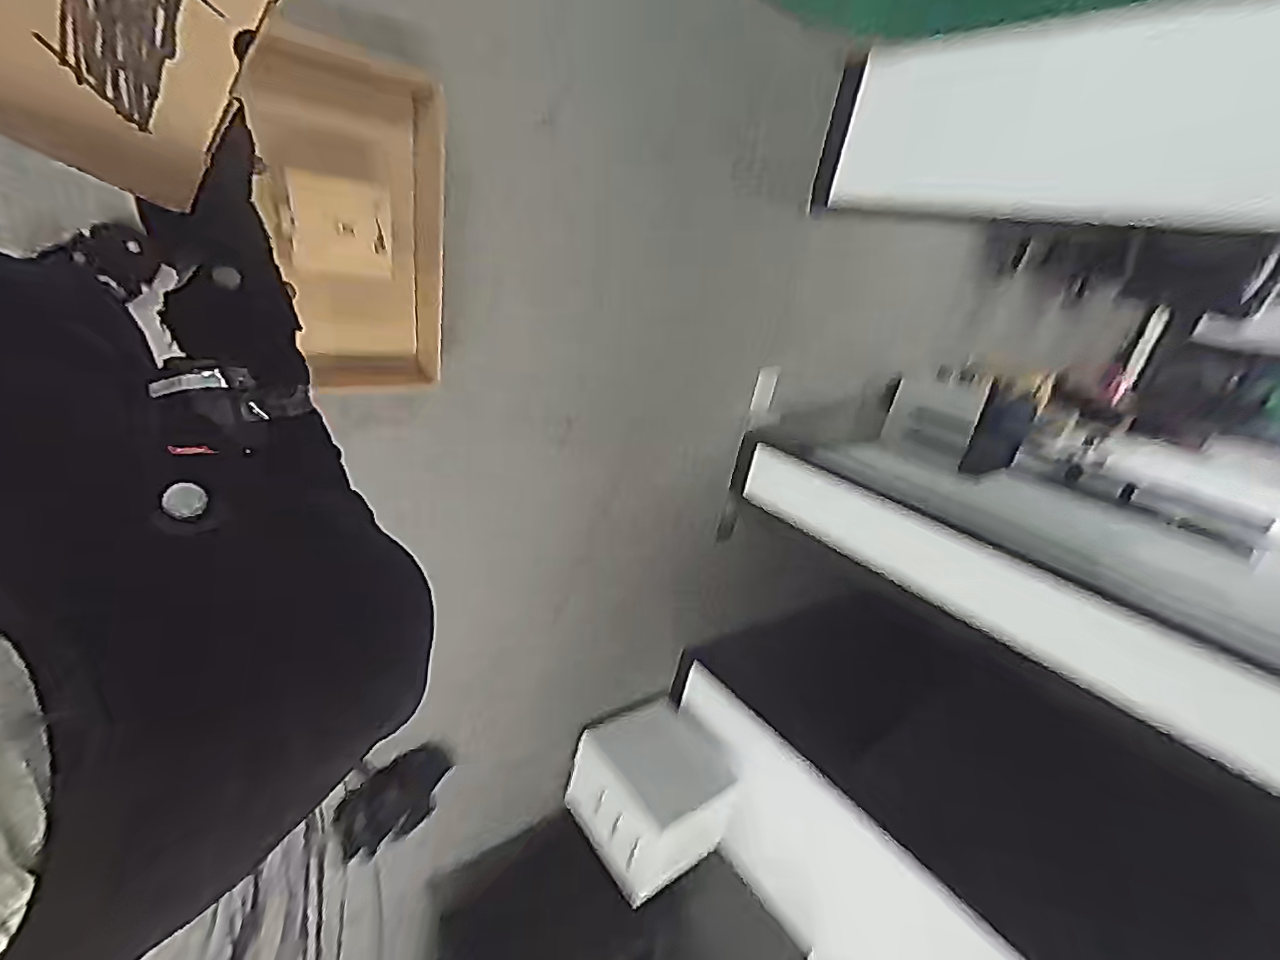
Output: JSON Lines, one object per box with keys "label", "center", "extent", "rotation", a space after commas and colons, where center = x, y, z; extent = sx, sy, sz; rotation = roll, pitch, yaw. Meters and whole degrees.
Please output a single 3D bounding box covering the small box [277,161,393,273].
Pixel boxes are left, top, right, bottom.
{"label": "small box", "center": [-0.605, -0.516, 1.070], "extent": [0.179, 0.176, 0.168], "rotation": [-8, 119, -39]}
